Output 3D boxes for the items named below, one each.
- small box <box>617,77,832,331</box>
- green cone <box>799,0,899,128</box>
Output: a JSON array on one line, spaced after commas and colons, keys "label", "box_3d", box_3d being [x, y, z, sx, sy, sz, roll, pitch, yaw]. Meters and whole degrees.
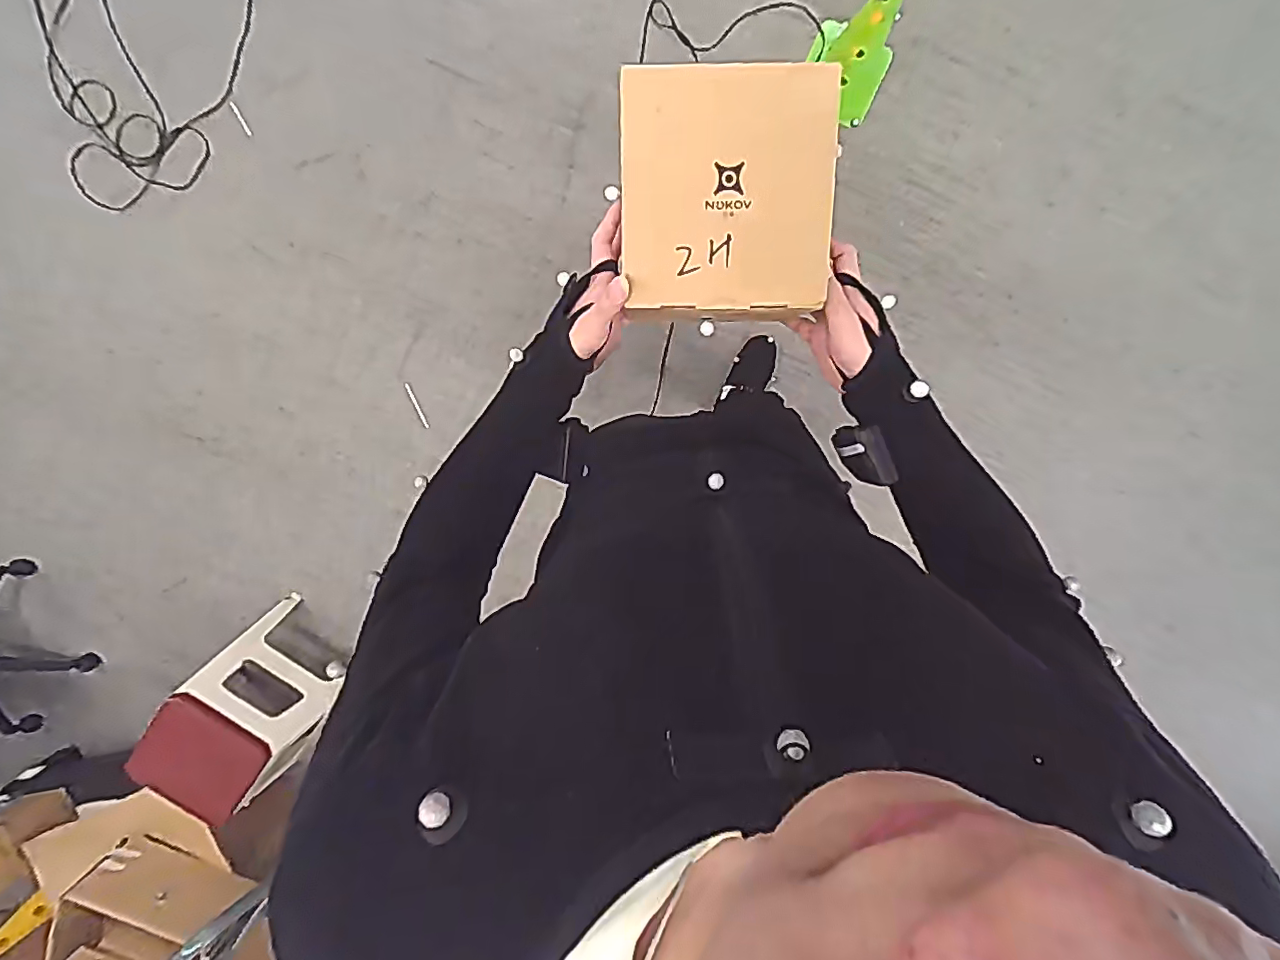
[{"label": "small box", "box_3d": [0.065, -0.237, 0.507, 0.168, 0.176, 0.179, 1, 103, 1]}, {"label": "green cone", "box_3d": [0.515, -1.010, 1.224, 0.202, 0.368, 0.200, 24, 101, -2]}]
